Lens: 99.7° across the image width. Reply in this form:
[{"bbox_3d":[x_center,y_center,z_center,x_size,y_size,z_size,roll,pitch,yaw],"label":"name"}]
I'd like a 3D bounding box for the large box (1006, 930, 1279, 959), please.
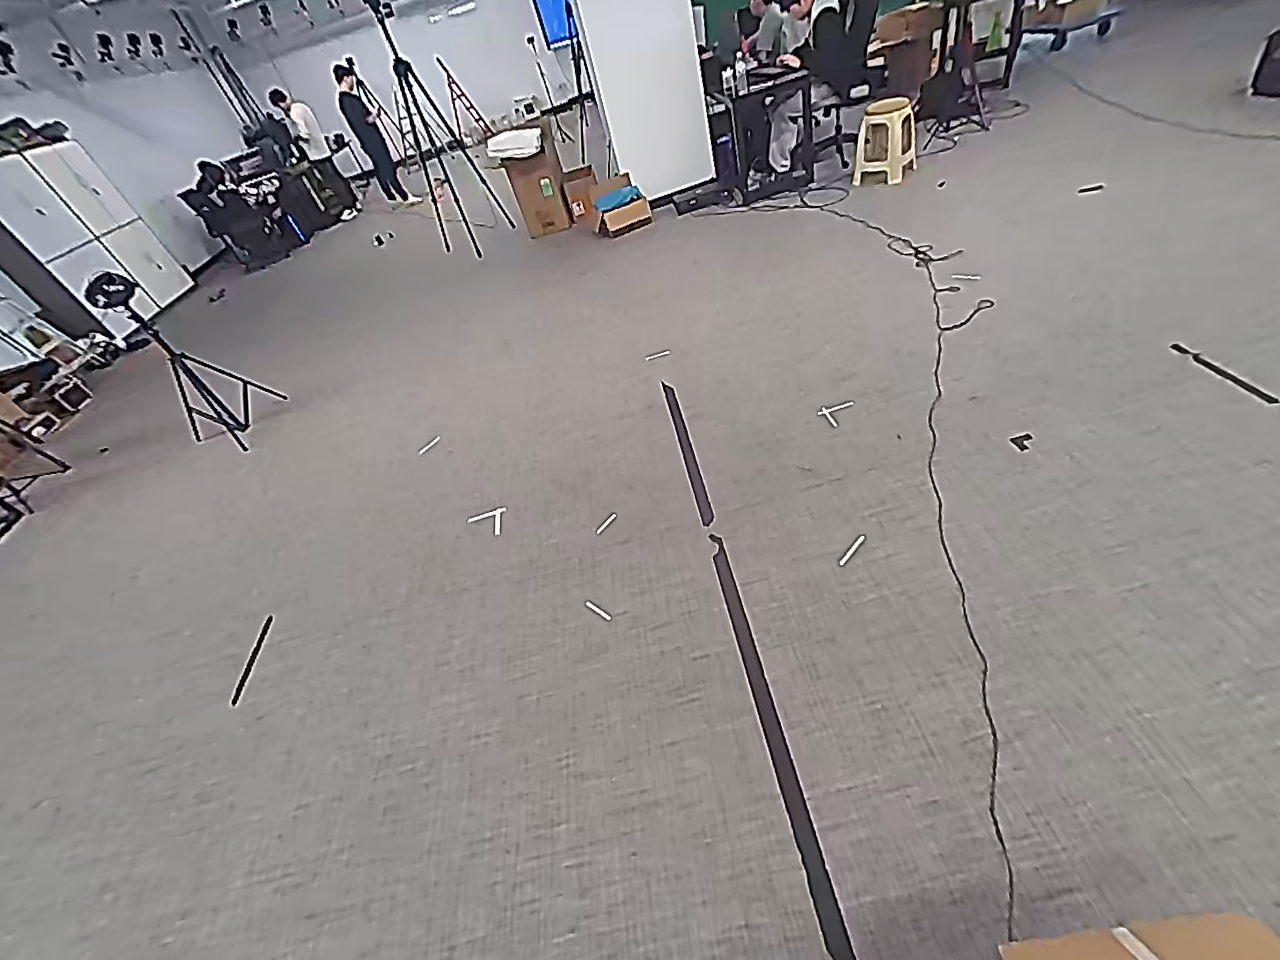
[{"bbox_3d":[0.635,0.727,0.493,0.320,0.408,0.320,-16,79,8],"label":"large box"}]
